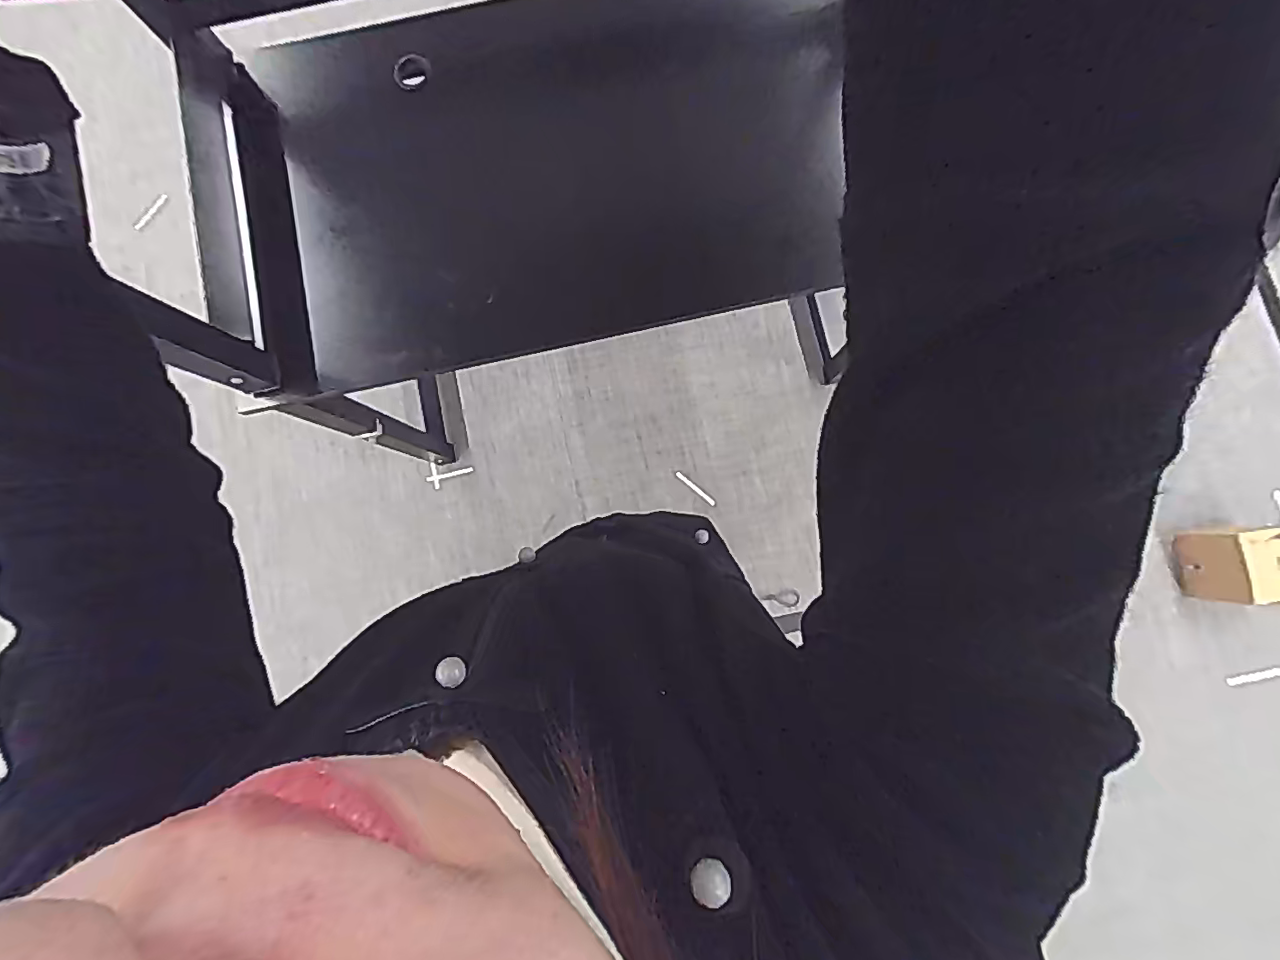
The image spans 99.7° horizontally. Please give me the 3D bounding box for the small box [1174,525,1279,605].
[{"bbox_3d":[1.530,0.210,1.375,0.168,0.176,0.179,-7,85,1],"label":"small box"}]
